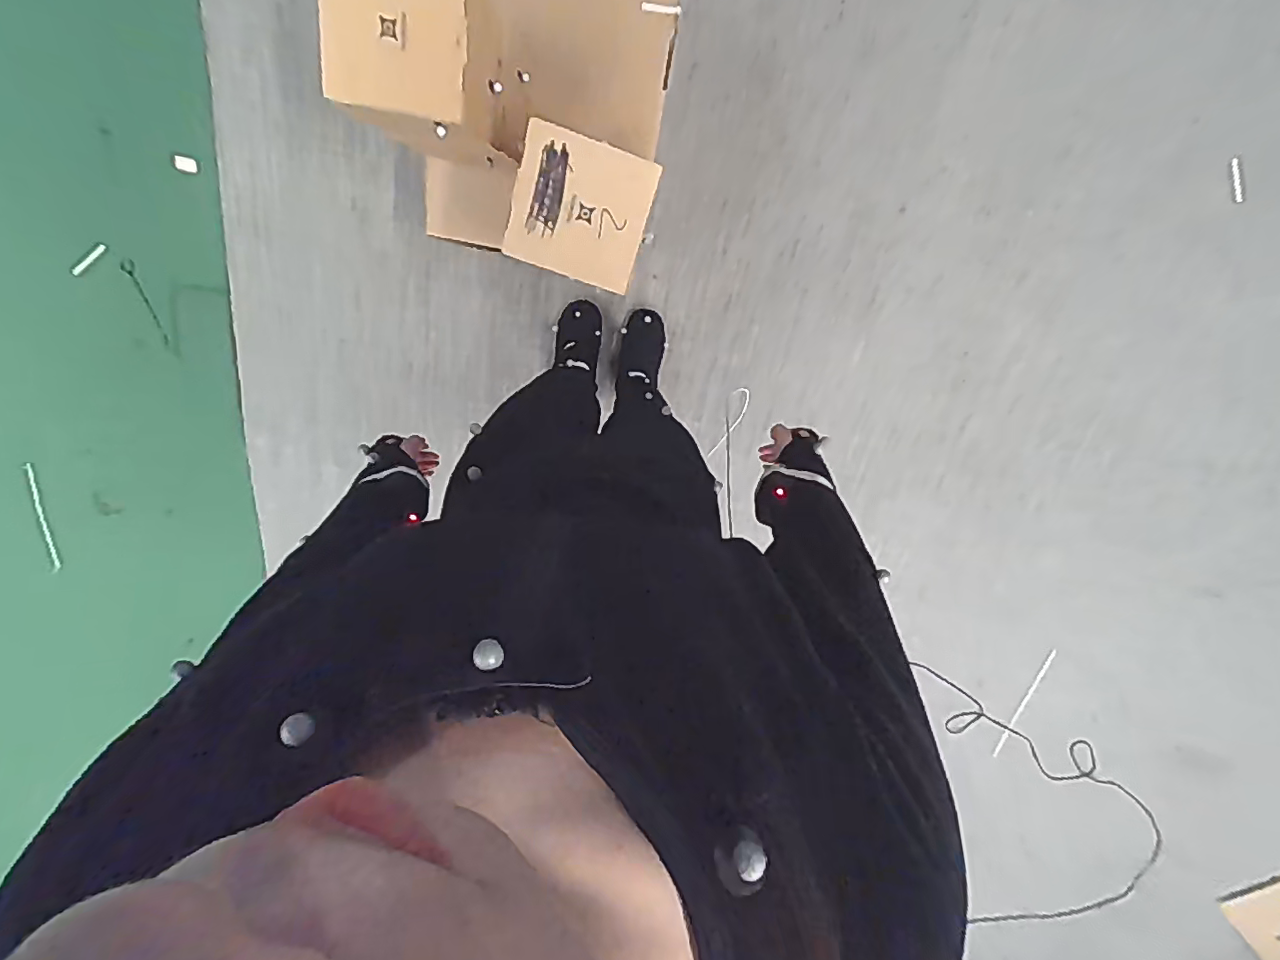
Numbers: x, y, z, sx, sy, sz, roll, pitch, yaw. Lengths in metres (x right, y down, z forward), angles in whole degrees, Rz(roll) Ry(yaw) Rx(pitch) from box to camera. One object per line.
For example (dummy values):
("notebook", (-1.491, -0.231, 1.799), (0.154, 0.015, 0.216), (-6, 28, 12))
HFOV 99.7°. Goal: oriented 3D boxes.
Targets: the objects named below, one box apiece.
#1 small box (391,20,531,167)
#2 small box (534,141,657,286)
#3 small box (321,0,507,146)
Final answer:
("small box", (-0.278, -0.616, 0.865), (0.179, 0.176, 0.168), (8, 110, -1))
("small box", (-0.074, -0.445, 0.927), (0.168, 0.176, 0.179), (13, 111, -5))
("small box", (-0.288, -0.562, 0.712), (0.179, 0.176, 0.168), (9, 111, -2))
